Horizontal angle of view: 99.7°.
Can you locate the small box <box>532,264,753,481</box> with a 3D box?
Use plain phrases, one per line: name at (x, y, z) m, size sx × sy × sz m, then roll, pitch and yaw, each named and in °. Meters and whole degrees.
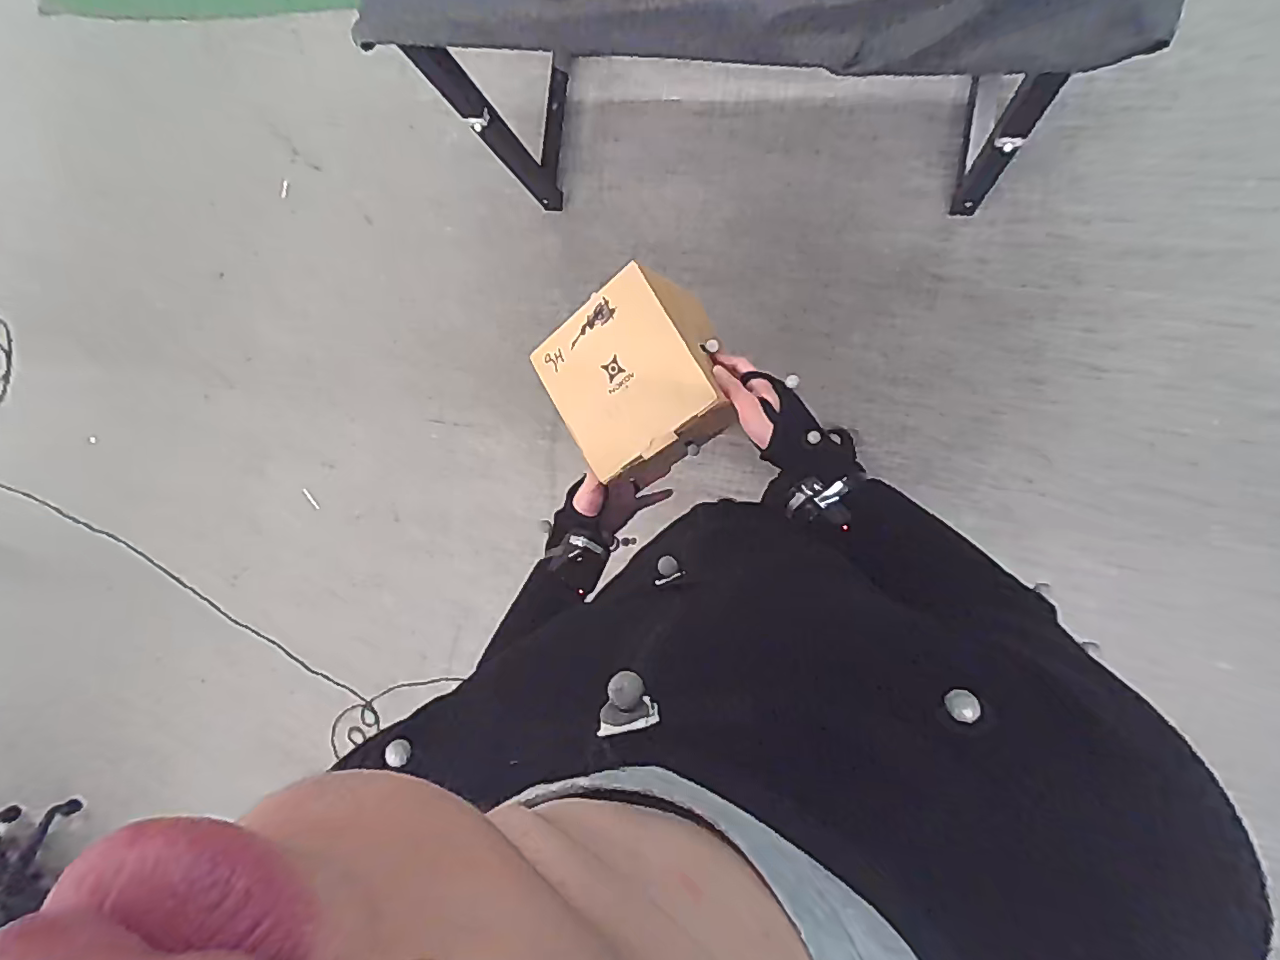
small box at (0.012, -0.121, 0.648) m, size 0.168 × 0.176 × 0.179 m, roll -34°, pitch 81°, yaw 25°
